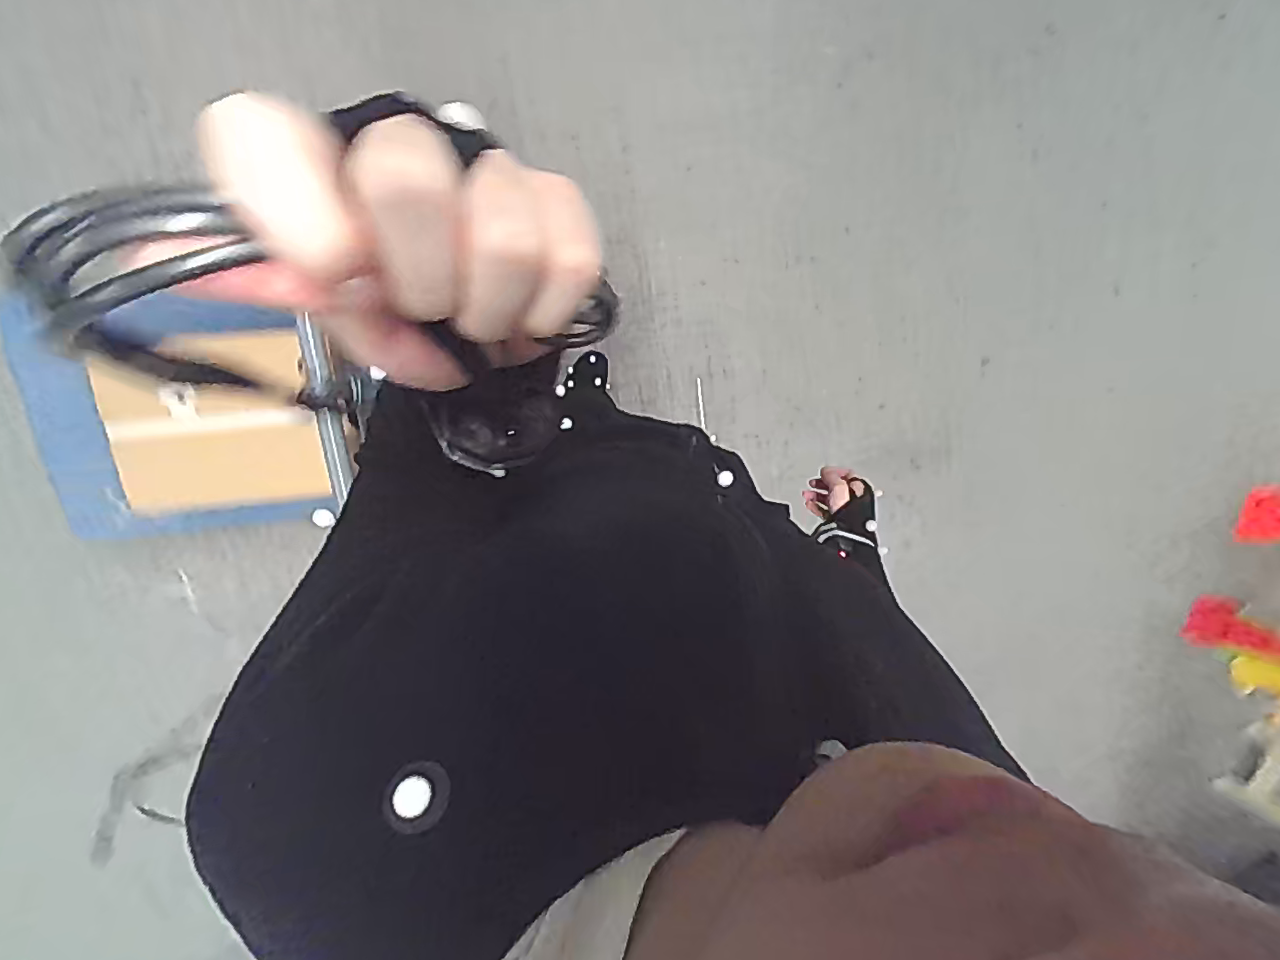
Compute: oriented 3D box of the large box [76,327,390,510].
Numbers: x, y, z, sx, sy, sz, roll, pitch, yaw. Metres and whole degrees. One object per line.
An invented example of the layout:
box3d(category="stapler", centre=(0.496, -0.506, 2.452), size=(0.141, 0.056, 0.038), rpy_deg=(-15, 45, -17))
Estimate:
box3d(category="large box", centre=(-0.803, -0.143, 1.145), size=(0.408, 0.320, 0.320), rpy_deg=(-5, 102, -8))
